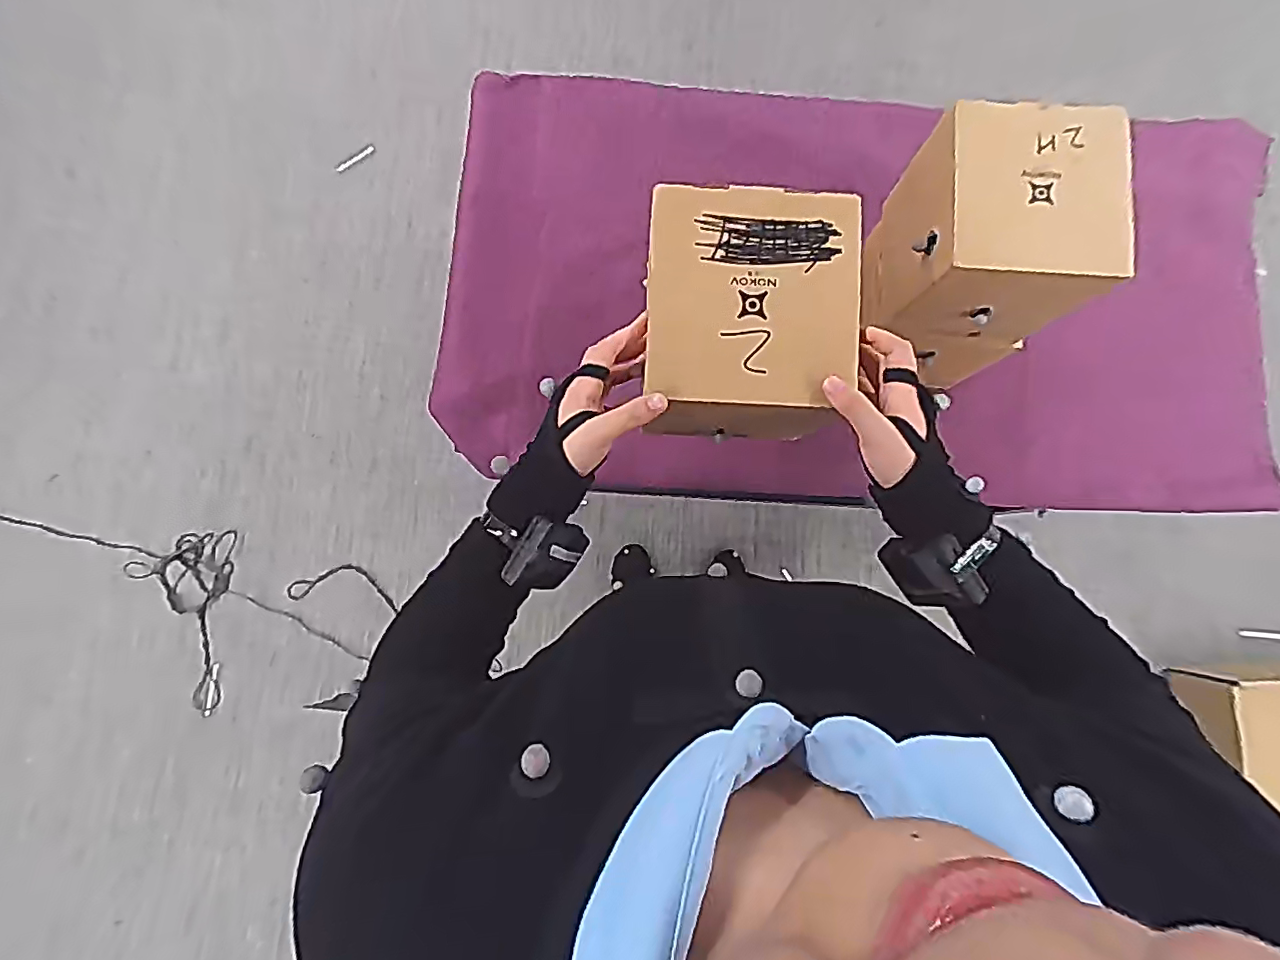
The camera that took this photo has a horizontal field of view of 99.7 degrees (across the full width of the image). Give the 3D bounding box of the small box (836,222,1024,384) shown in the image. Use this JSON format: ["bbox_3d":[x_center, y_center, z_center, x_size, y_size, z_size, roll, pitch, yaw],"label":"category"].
[{"bbox_3d":[0.391,-0.238,0.750,0.179,0.176,0.168,5,83,2],"label":"small box"}]

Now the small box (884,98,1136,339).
[{"bbox_3d":[0.382,-0.267,0.588,0.168,0.176,0.179,5,83,2],"label":"small box"}]

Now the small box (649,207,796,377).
[{"bbox_3d":[0.106,-0.251,0.755,0.179,0.176,0.168,4,83,1],"label":"small box"}]
